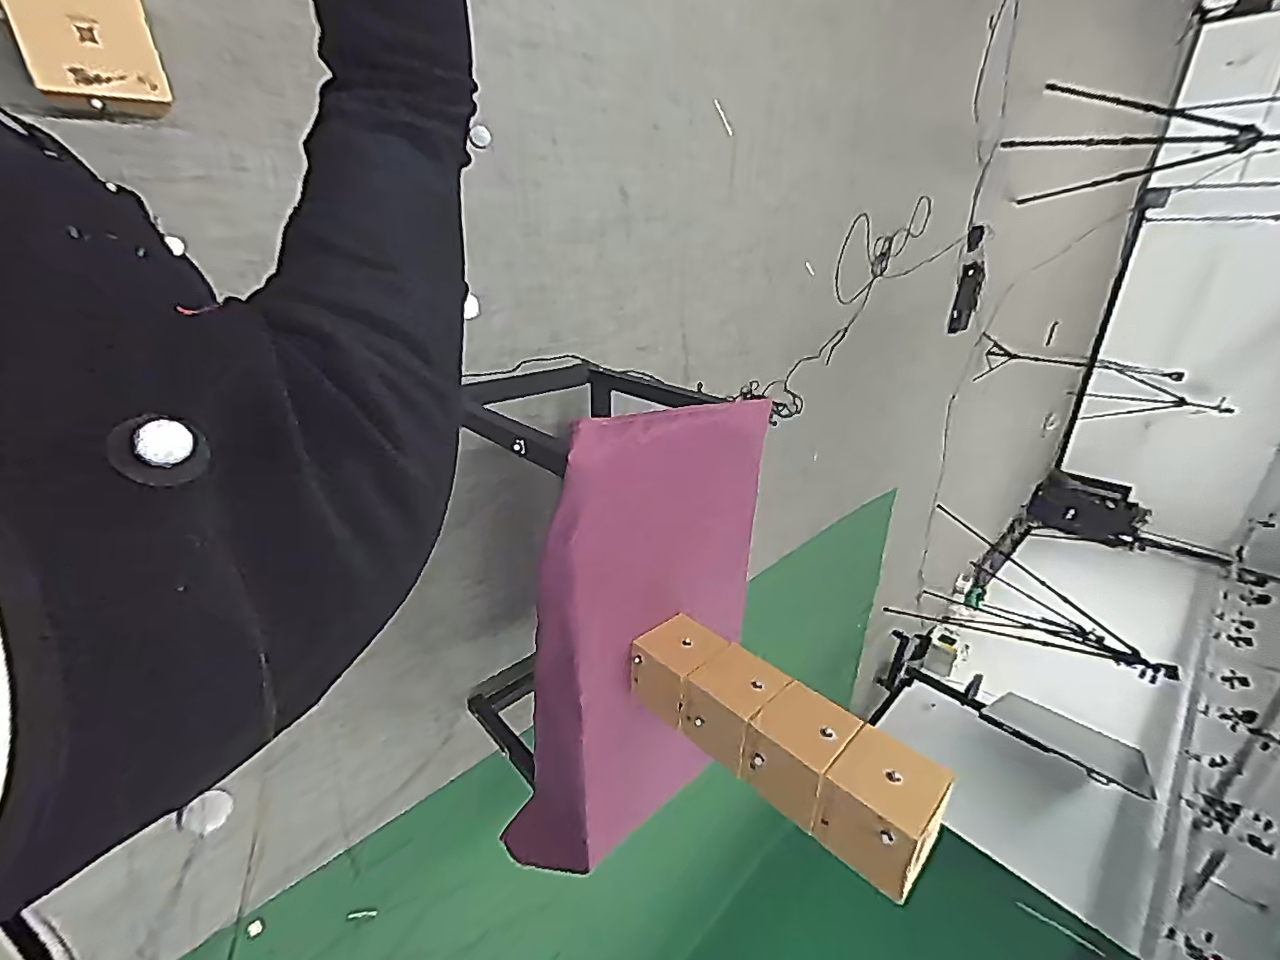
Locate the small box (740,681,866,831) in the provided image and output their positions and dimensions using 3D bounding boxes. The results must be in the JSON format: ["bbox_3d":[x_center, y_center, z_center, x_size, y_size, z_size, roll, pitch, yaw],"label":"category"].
[{"bbox_3d":[0.328,0.547,1.101,0.179,0.176,0.168,-19,119,-39],"label":"small box"}]

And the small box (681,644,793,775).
[{"bbox_3d":[0.214,0.500,1.207,0.179,0.176,0.168,-19,119,-39],"label":"small box"}]

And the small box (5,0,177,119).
[{"bbox_3d":[-0.894,-0.713,0.879,0.168,0.176,0.179,-22,121,-38],"label":"small box"}]

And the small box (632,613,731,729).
[{"bbox_3d":[0.096,0.455,1.313,0.179,0.176,0.168,-19,120,-40],"label":"small box"}]
